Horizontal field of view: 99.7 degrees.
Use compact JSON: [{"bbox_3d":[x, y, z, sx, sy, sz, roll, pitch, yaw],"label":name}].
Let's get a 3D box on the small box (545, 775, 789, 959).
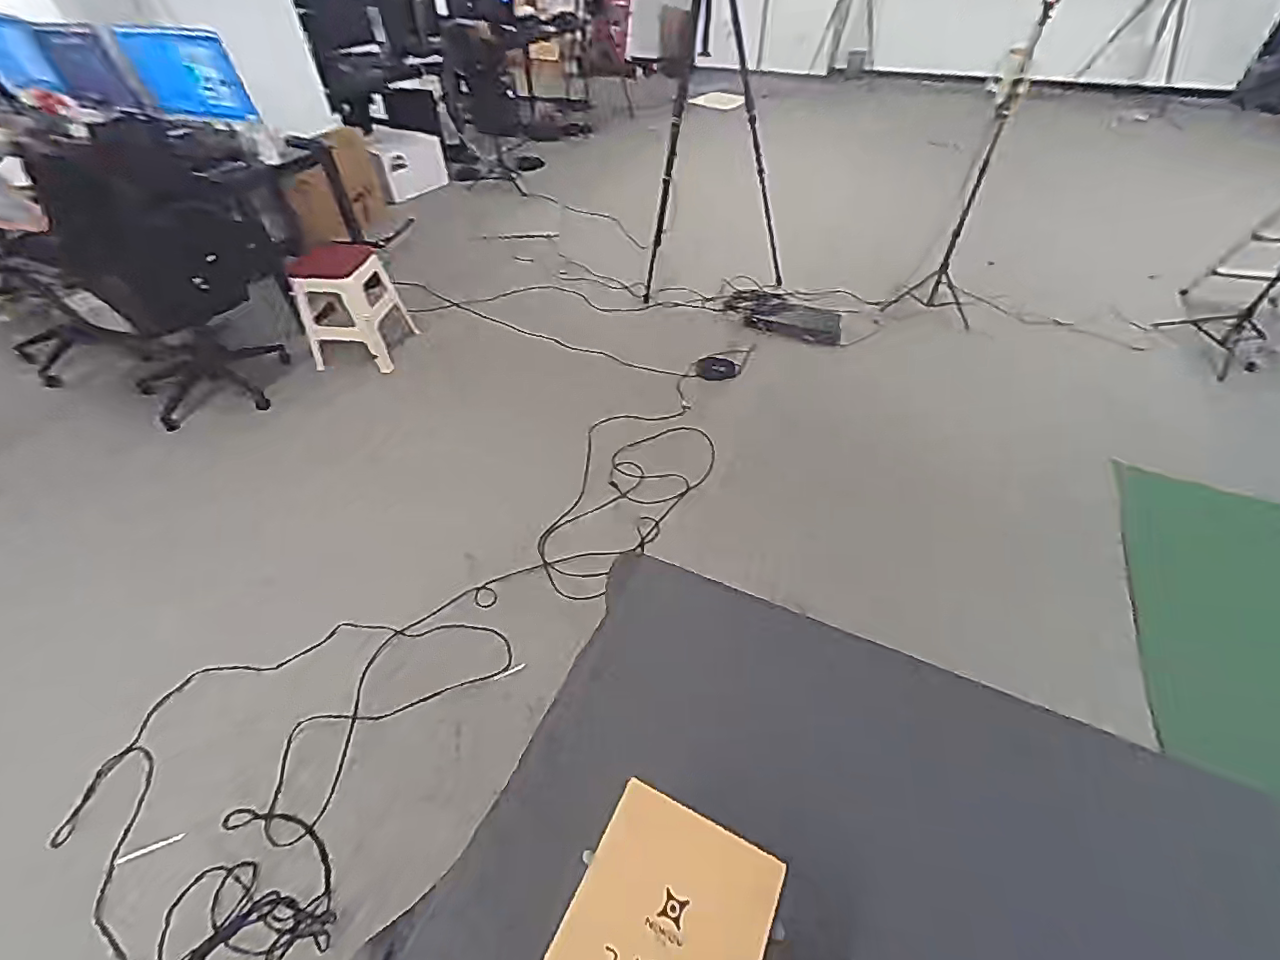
[{"bbox_3d":[0.026,0.435,0.526,0.168,0.176,0.179,20,49,19],"label":"small box"}]
